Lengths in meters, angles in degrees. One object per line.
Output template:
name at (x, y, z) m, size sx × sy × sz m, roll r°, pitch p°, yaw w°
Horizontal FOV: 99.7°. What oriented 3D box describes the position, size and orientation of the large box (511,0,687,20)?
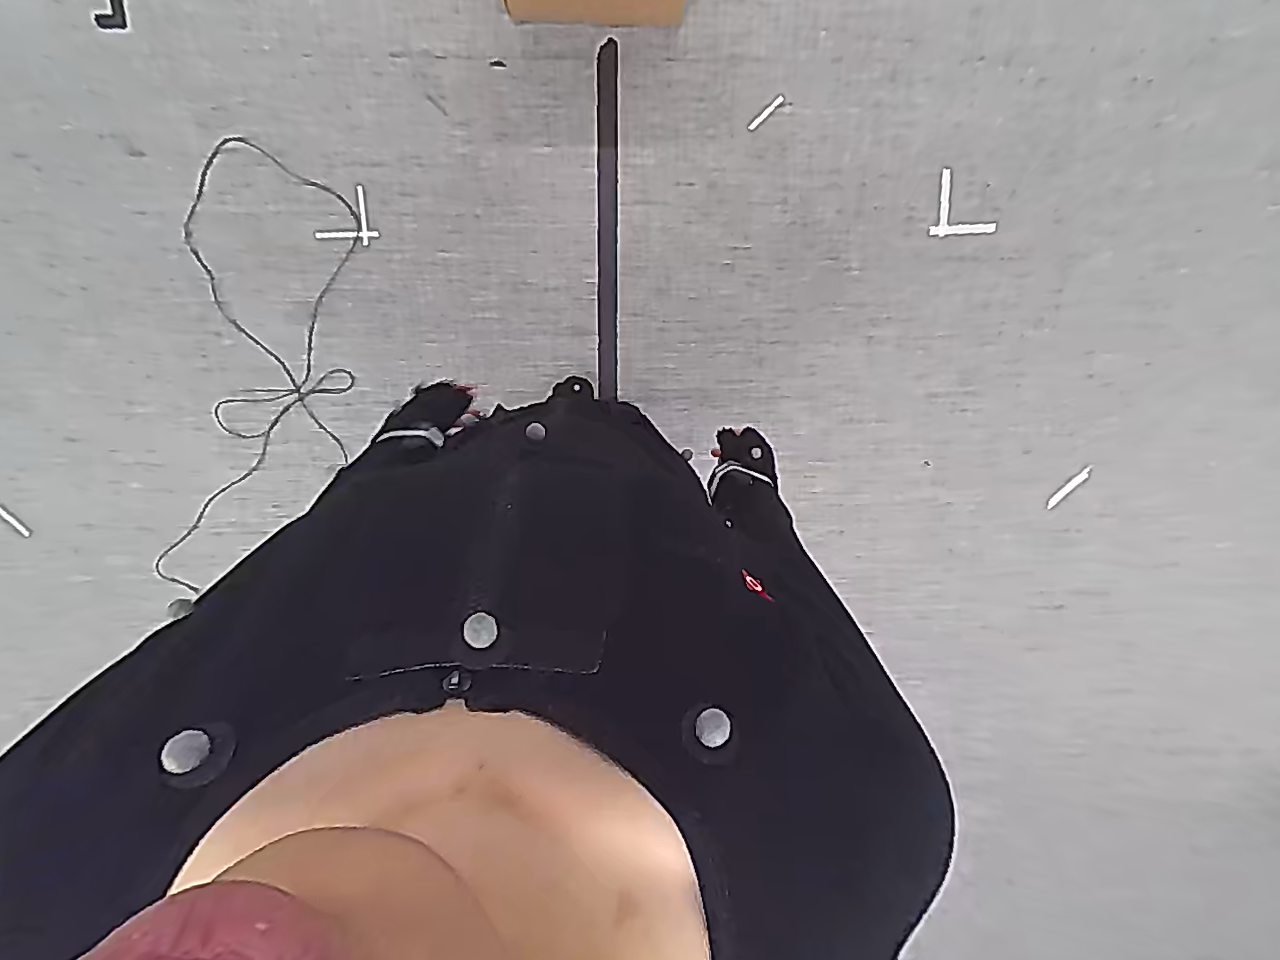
large box at (-0.090, -1.202, 1.099) m, size 0.408 × 0.320 × 0.320 m, roll 0°, pitch 102°, yaw -2°
